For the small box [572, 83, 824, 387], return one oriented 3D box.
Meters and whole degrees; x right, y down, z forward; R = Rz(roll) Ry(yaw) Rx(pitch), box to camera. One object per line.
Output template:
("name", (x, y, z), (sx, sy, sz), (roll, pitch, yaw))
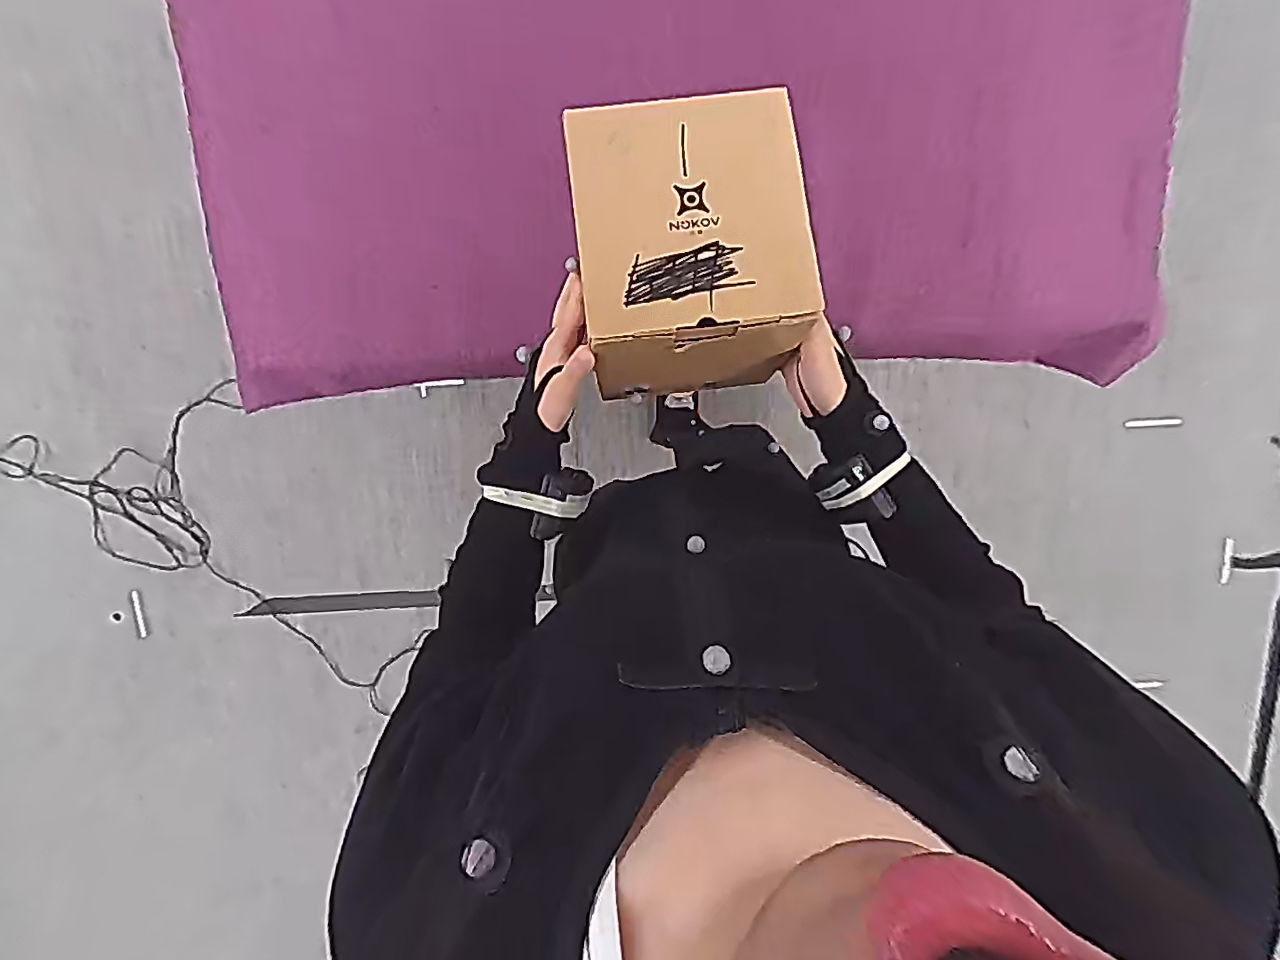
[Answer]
("small box", (0.040, -0.186, 0.462), (0.168, 0.176, 0.179), (-6, 83, -1))
